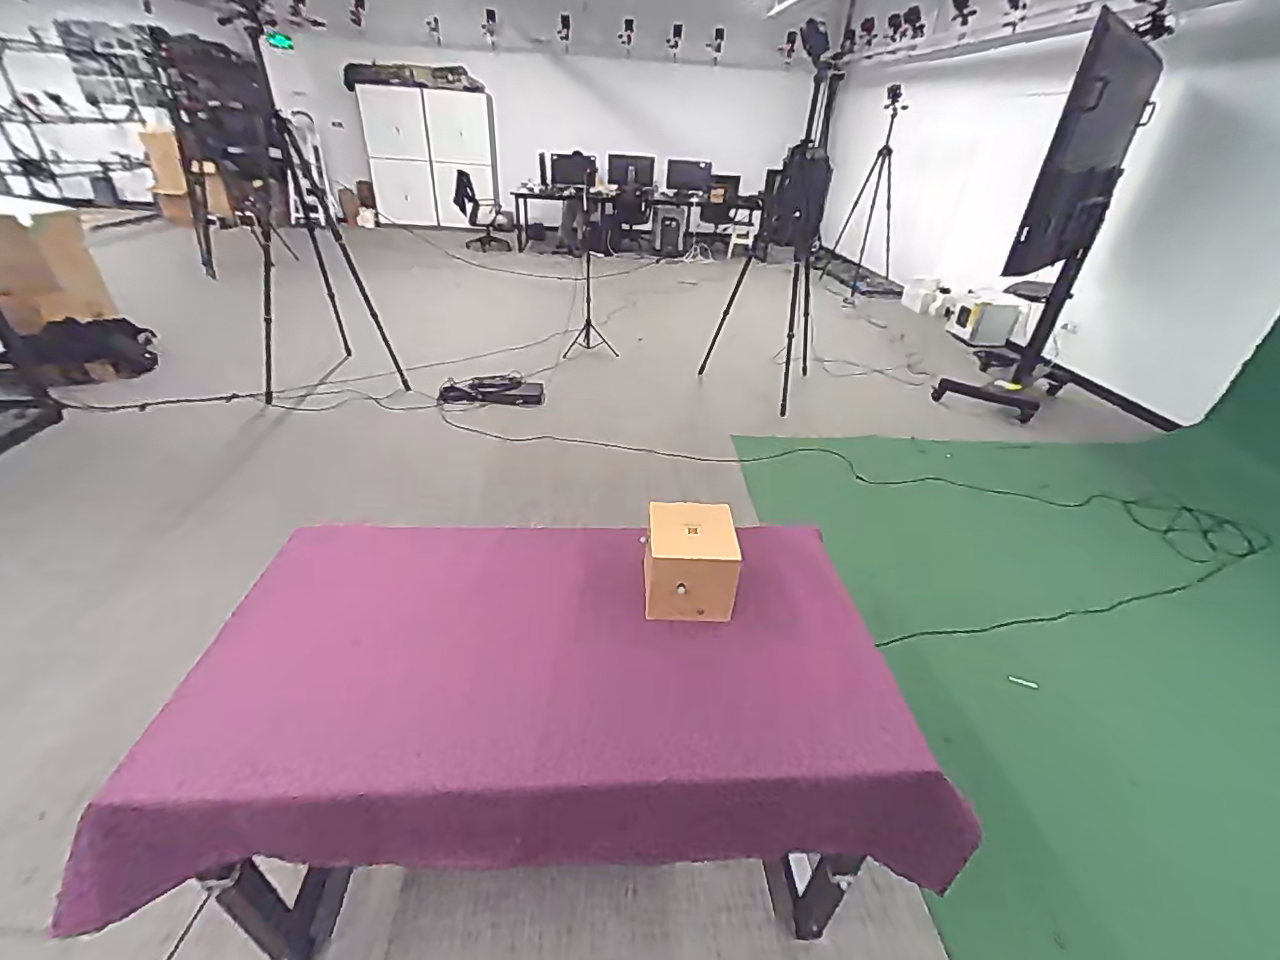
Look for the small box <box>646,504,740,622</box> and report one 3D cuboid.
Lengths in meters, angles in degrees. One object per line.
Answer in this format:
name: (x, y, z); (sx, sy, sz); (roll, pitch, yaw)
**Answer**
small box: (0.099, 0.165, 1.082); (0.168, 0.176, 0.179); (2, 32, -1)
